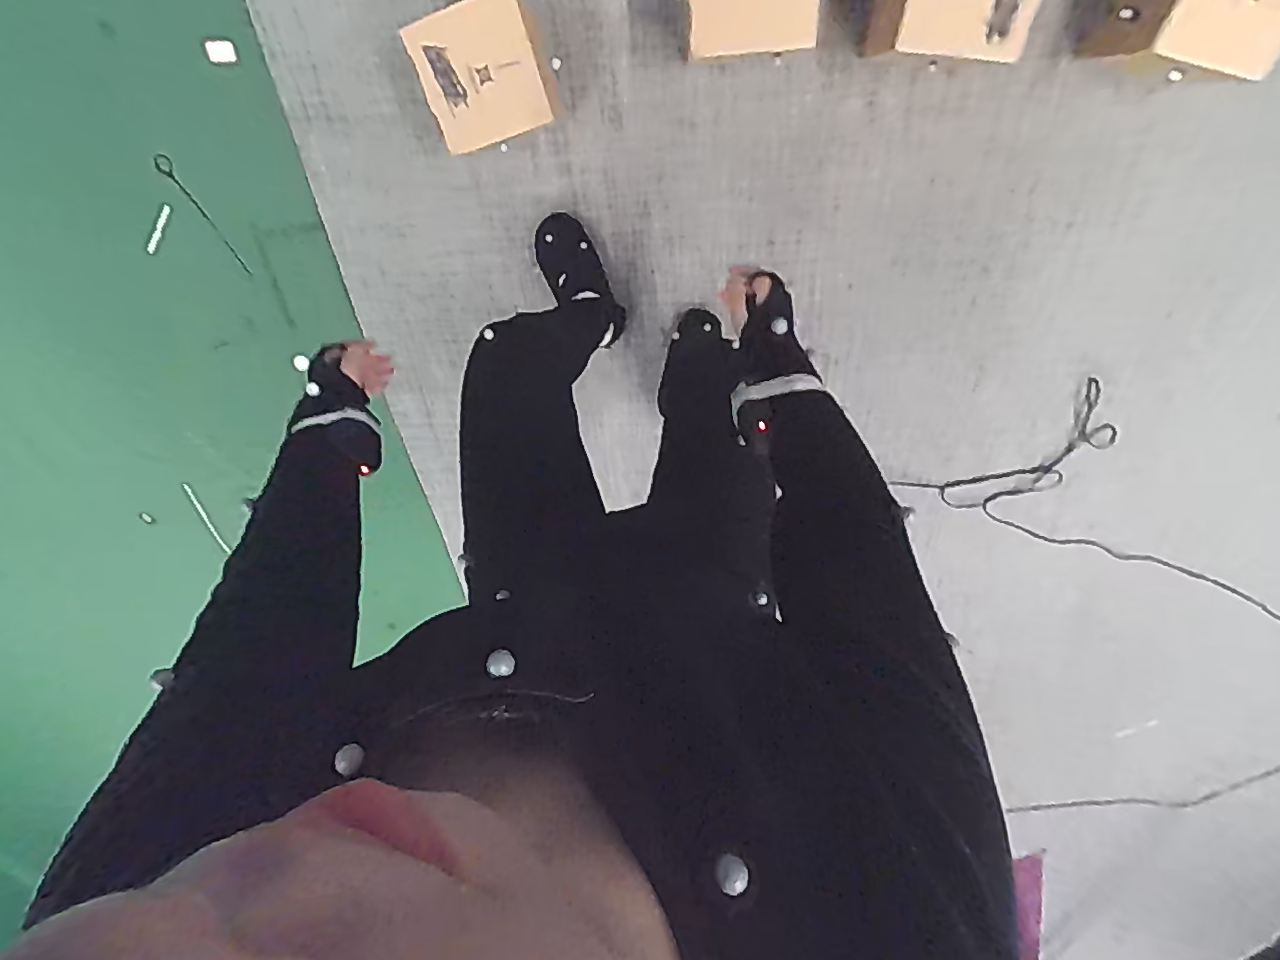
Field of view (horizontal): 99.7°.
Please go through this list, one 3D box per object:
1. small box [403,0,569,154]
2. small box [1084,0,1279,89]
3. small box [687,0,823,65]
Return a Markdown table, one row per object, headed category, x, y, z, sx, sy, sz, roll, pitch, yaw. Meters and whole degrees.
| category | x | y | z | sx | sy | sz | roll | pitch | yaw |
| --- | --- | --- | --- | --- | --- | --- | --- | --- | --- |
| small box | -0.227 | -0.632 | 0.849 | 0.179 | 0.176 | 0.168 | -12 | 123 | 10 |
| small box | 0.797 | -0.671 | 0.764 | 0.179 | 0.176 | 0.168 | 11 | 125 | -5 |
| small box | 0.158 | -0.706 | 0.774 | 0.179 | 0.176 | 0.168 | -1 | 124 | 4 |
